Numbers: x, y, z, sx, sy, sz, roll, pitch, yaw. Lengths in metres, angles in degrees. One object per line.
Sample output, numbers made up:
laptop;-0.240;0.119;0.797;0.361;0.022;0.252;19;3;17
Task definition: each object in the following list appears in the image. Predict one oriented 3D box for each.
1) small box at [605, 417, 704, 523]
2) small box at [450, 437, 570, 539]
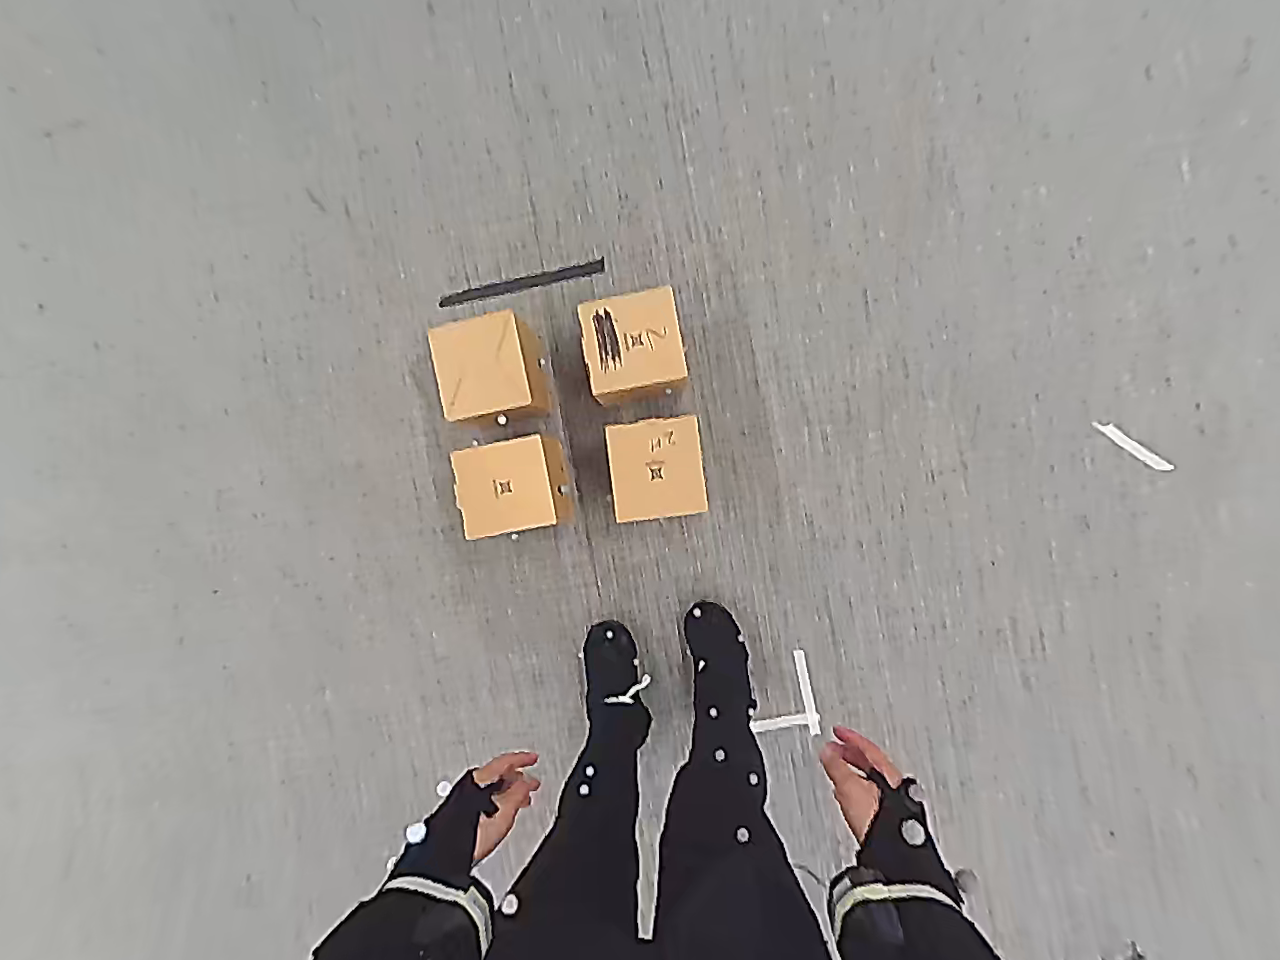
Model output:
small box;0.032;-0.019;1.038;0.168;0.176;0.179;-7;90;4
small box;-0.243;0.012;1.061;0.179;0.176;0.168;-11;90;5
